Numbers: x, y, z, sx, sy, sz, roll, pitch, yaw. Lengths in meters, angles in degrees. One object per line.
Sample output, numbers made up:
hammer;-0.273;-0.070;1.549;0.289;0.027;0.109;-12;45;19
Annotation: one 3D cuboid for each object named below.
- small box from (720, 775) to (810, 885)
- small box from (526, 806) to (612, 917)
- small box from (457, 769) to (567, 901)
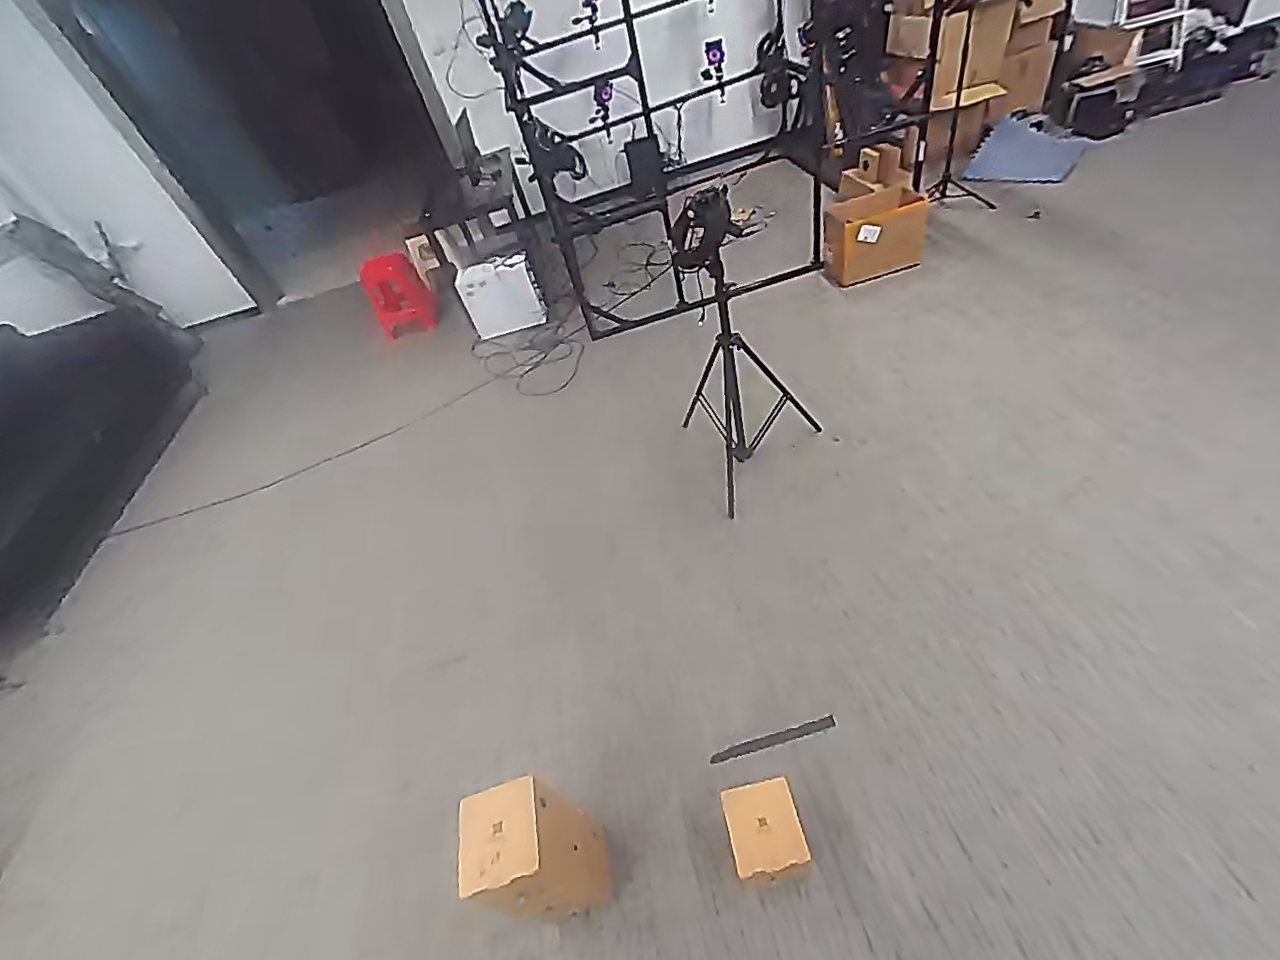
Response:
small box;0.298;0.846;1.305;0.168;0.176;0.179;-16;45;3
small box;-0.181;0.957;1.354;0.168;0.176;0.179;-19;43;1
small box;-0.262;0.739;1.124;0.168;0.176;0.179;-19;44;1
